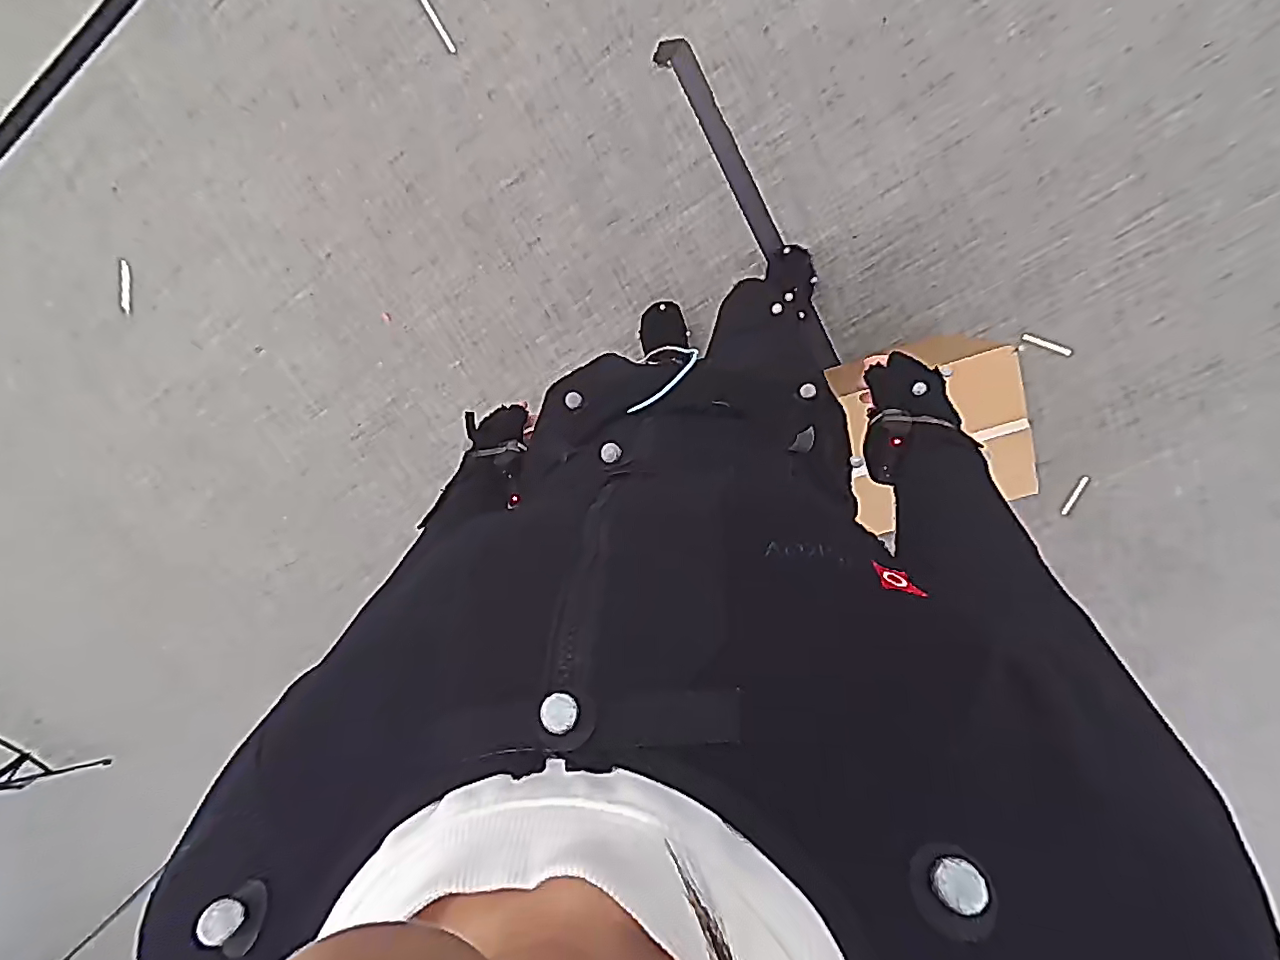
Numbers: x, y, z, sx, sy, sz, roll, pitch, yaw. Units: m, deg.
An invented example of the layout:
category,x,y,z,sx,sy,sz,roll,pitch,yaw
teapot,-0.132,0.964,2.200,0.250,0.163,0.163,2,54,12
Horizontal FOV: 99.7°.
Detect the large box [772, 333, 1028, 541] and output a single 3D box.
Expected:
category,x,y,z,sx,sy,sz,roll,pitch,yaw
large box,0.552,-0.110,1.215,0.408,0.320,0.320,-17,107,10
